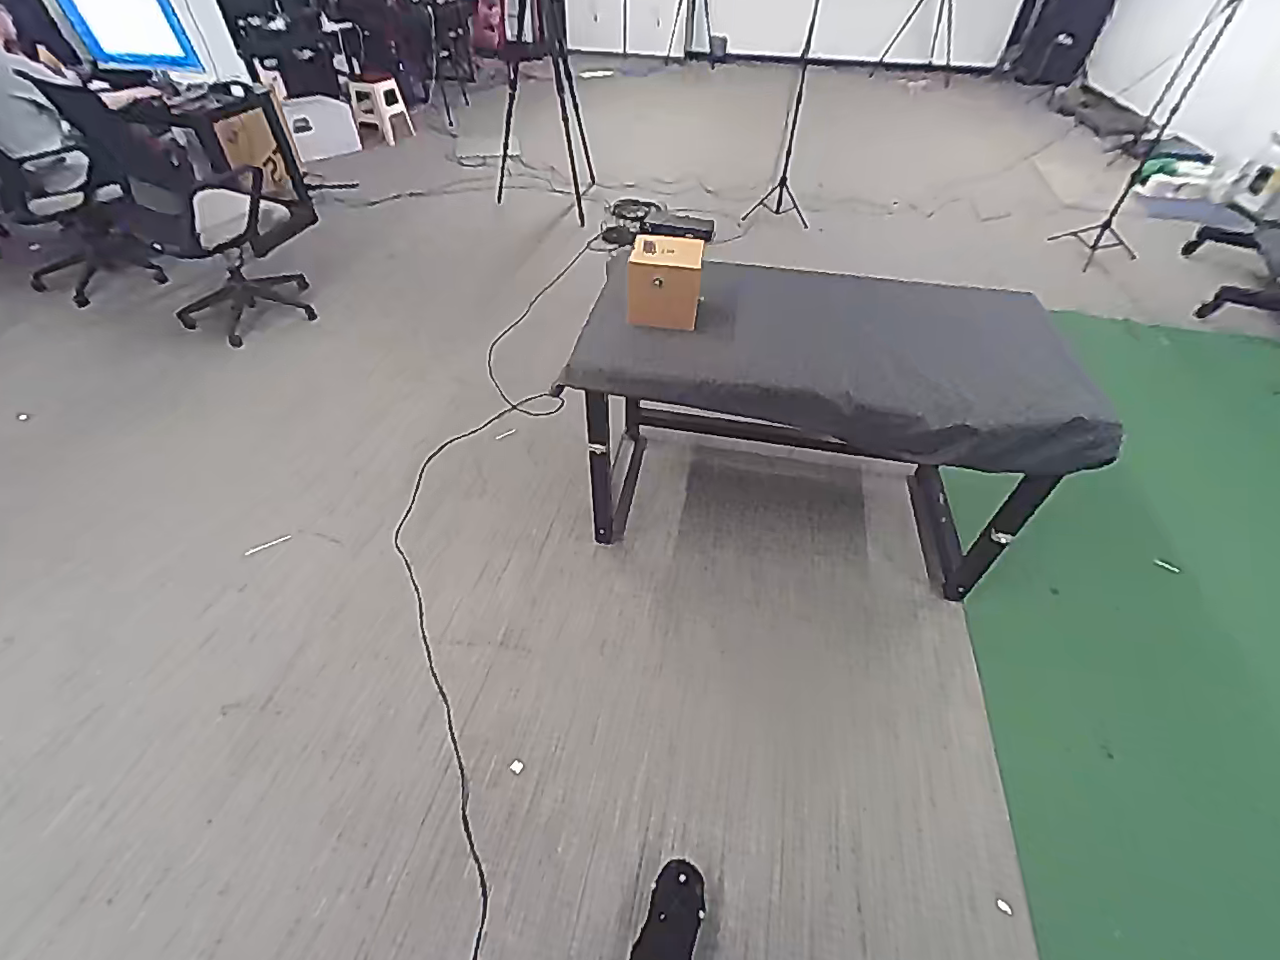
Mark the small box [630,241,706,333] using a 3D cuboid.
[{"bbox_3d":[0.071,-0.496,1.393,0.179,0.176,0.168,7,46,4],"label":"small box"}]
